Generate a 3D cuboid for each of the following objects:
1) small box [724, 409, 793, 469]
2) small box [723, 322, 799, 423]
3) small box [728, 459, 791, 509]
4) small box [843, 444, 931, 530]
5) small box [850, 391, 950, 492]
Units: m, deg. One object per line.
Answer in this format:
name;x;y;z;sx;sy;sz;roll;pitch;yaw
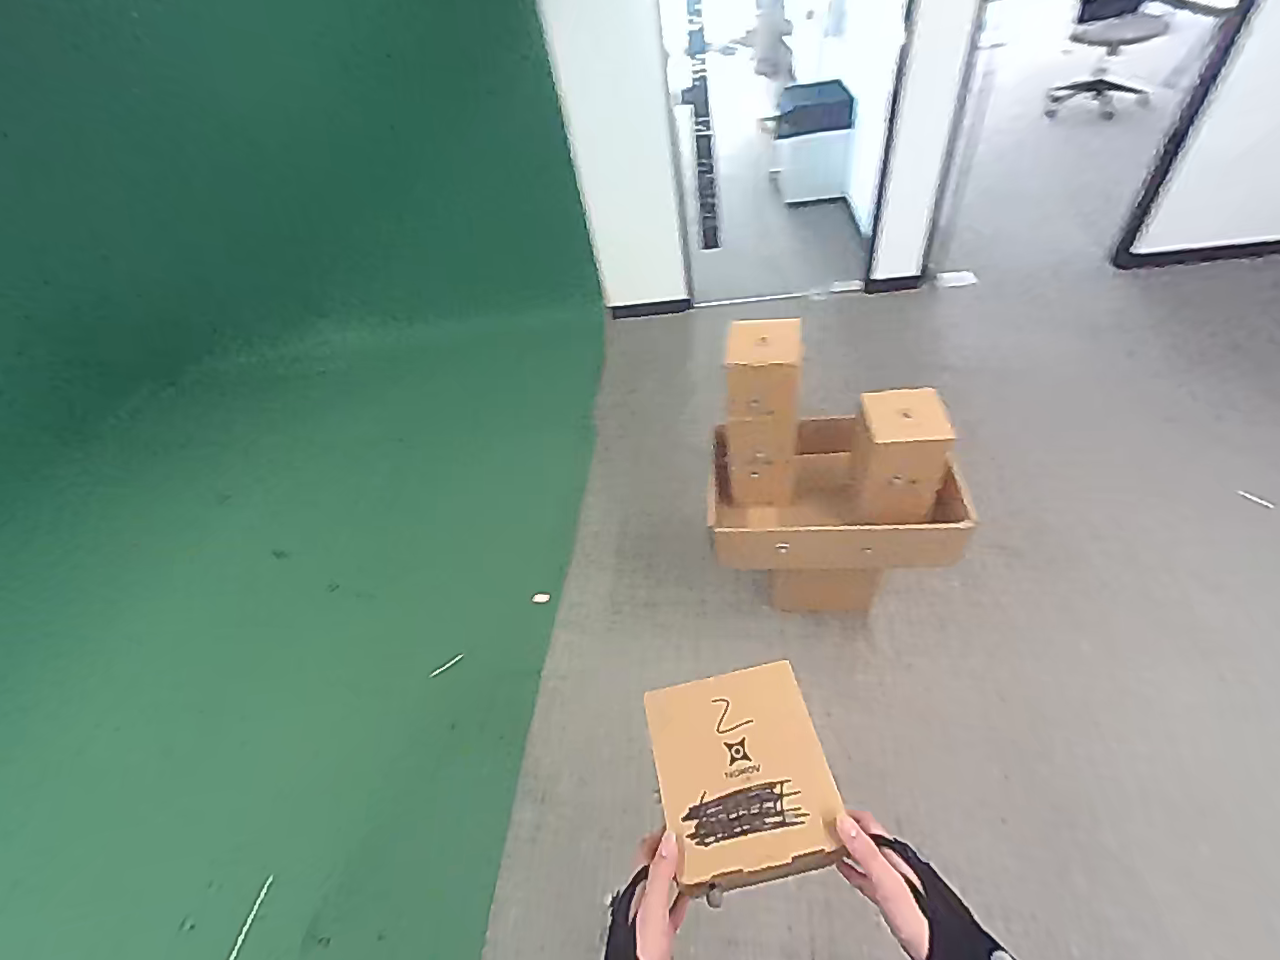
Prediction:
small box;0.311;-0.149;1.413;0.168;0.176;0.179;1;48;14
small box;0.290;-0.259;1.296;0.168;0.176;0.179;2;49;14
small box;0.335;-0.038;1.532;0.168;0.176;0.179;0;47;11
small box;0.636;0.019;1.412;0.168;0.176;0.179;-2;46;10
small box;0.610;-0.090;1.294;0.168;0.176;0.179;-3;47;10
